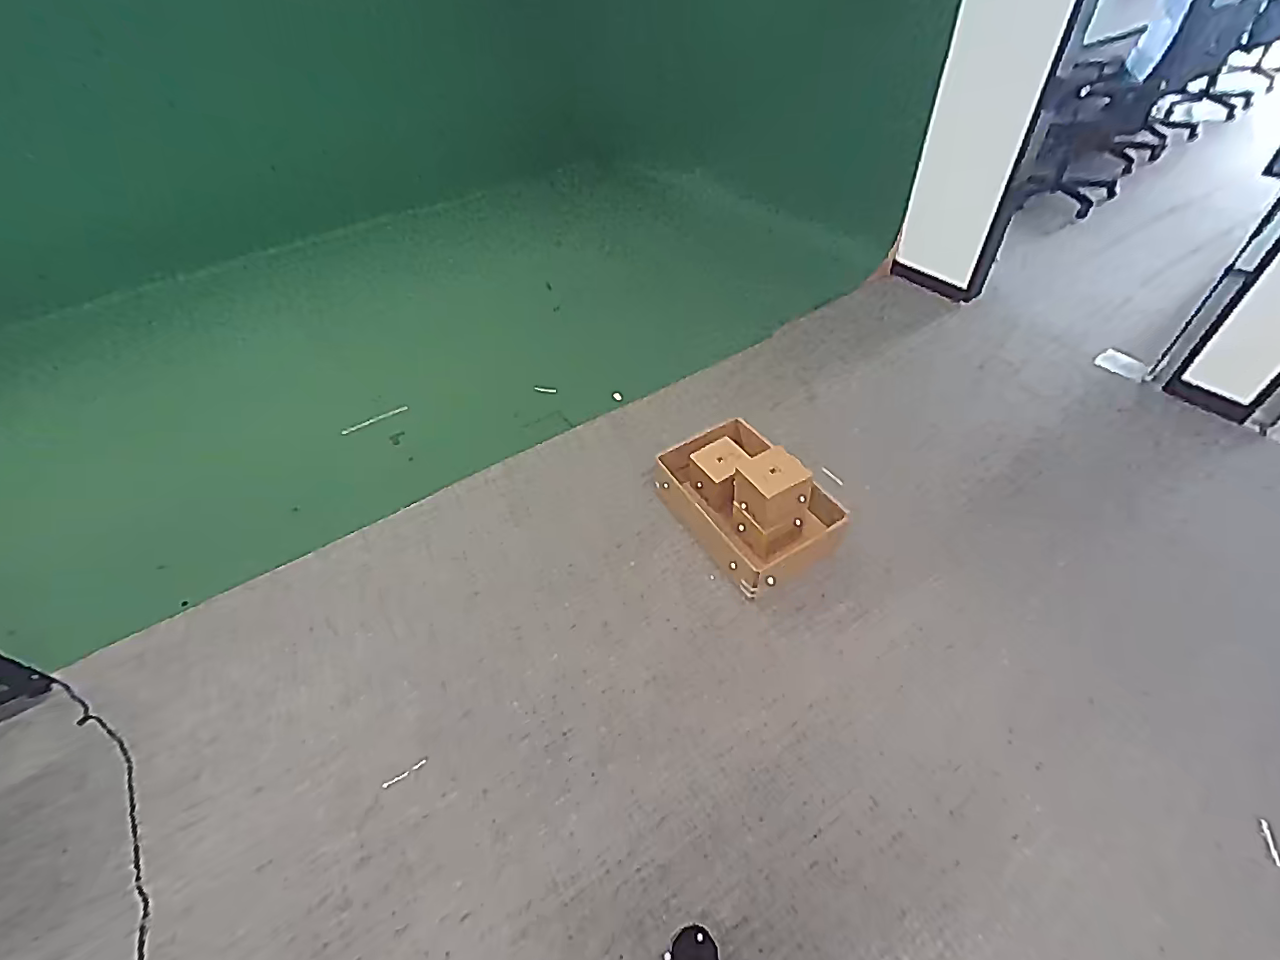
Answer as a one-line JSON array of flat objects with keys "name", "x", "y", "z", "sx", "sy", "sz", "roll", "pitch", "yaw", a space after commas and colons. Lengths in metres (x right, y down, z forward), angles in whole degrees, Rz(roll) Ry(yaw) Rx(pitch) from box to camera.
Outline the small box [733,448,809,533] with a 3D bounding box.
[{"name": "small box", "x": 0.407, "y": 0.035, "z": 1.718, "sx": 0.179, "sy": 0.176, "sz": 0.168, "roll": -26, "pitch": 48, "yaw": -16}]

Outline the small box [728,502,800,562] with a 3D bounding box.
[{"name": "small box", "x": 0.416, "y": 0.148, "z": 1.835, "sx": 0.179, "sy": 0.176, "sz": 0.168, "roll": -26, "pitch": 50, "yaw": -18}]

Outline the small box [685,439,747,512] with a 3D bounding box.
[{"name": "small box", "x": 0.284, "y": -0.013, "z": 1.993, "sx": 0.179, "sy": 0.176, "sz": 0.168, "roll": -27, "pitch": 51, "yaw": -18}]
